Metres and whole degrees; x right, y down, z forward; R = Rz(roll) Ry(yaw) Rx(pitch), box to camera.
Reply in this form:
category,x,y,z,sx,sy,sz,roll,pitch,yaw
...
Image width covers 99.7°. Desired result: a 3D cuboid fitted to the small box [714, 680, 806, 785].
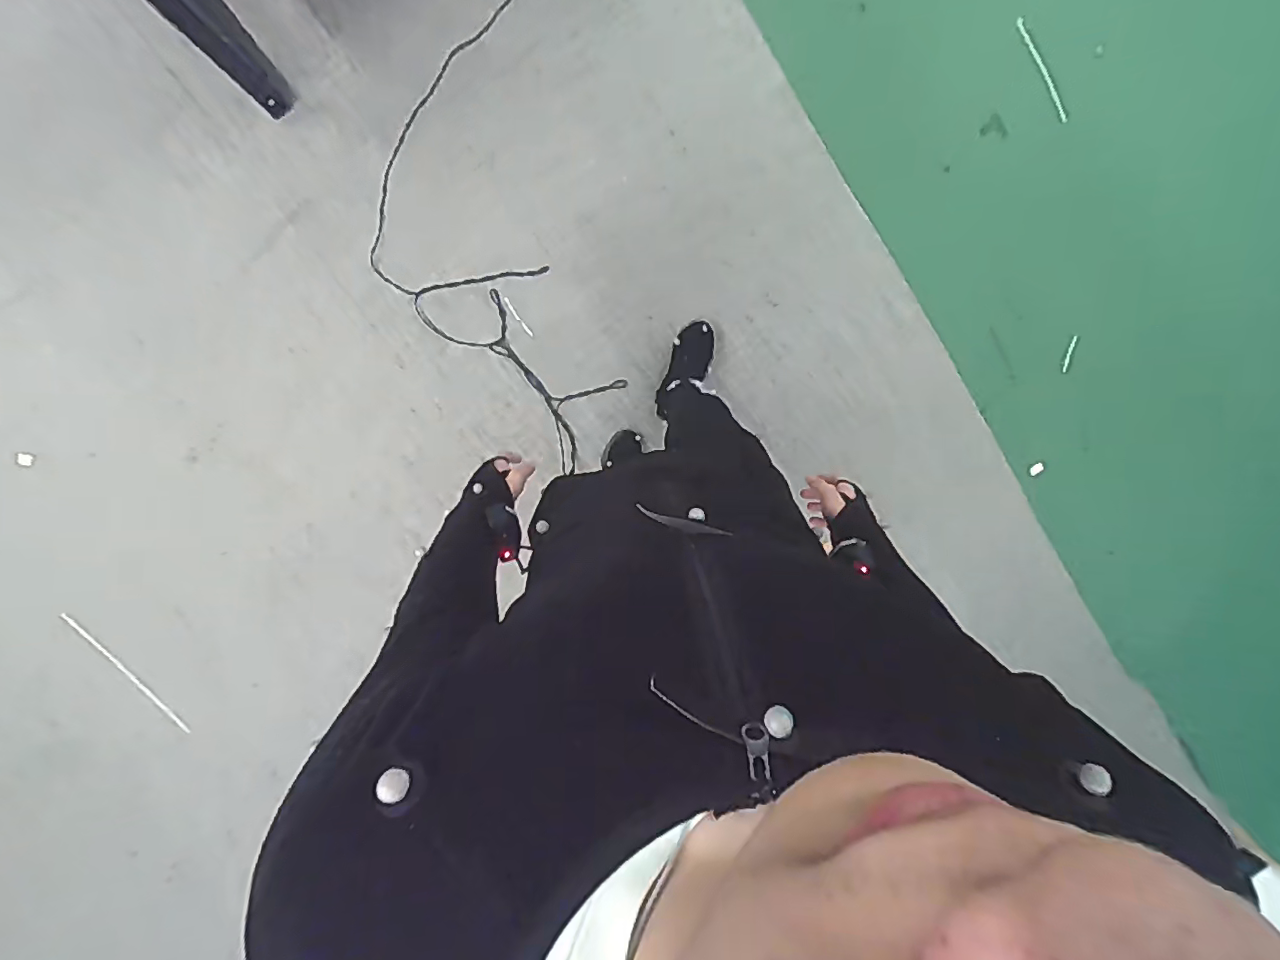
category,x,y,z,sx,sy,sz,roll,pitch,yaw
small box,0.321,0.679,1.481,0.168,0.176,0.179,-27,101,-1
